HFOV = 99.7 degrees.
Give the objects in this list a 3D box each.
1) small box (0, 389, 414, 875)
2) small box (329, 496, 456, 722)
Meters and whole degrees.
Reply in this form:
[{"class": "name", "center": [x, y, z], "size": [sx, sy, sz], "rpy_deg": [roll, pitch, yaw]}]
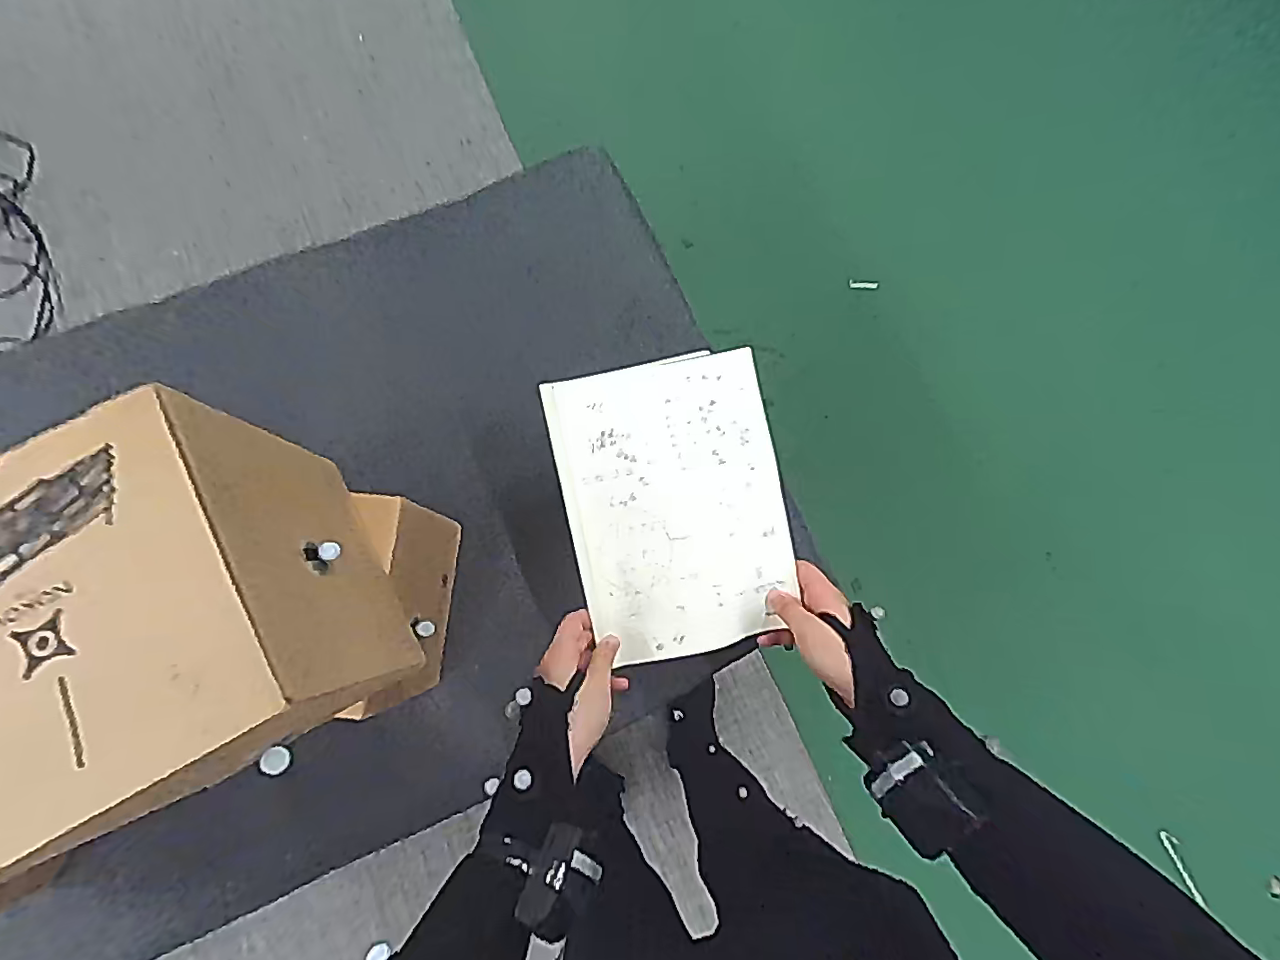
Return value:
[{"class": "small box", "center": [-0.267, 0.082, 0.315], "size": [0.168, 0.176, 0.179], "rpy_deg": [-29, 81, -6]}, {"class": "small box", "center": [-0.280, 0.101, 0.479], "size": [0.179, 0.176, 0.168], "rpy_deg": [5, 78, 0]}]
